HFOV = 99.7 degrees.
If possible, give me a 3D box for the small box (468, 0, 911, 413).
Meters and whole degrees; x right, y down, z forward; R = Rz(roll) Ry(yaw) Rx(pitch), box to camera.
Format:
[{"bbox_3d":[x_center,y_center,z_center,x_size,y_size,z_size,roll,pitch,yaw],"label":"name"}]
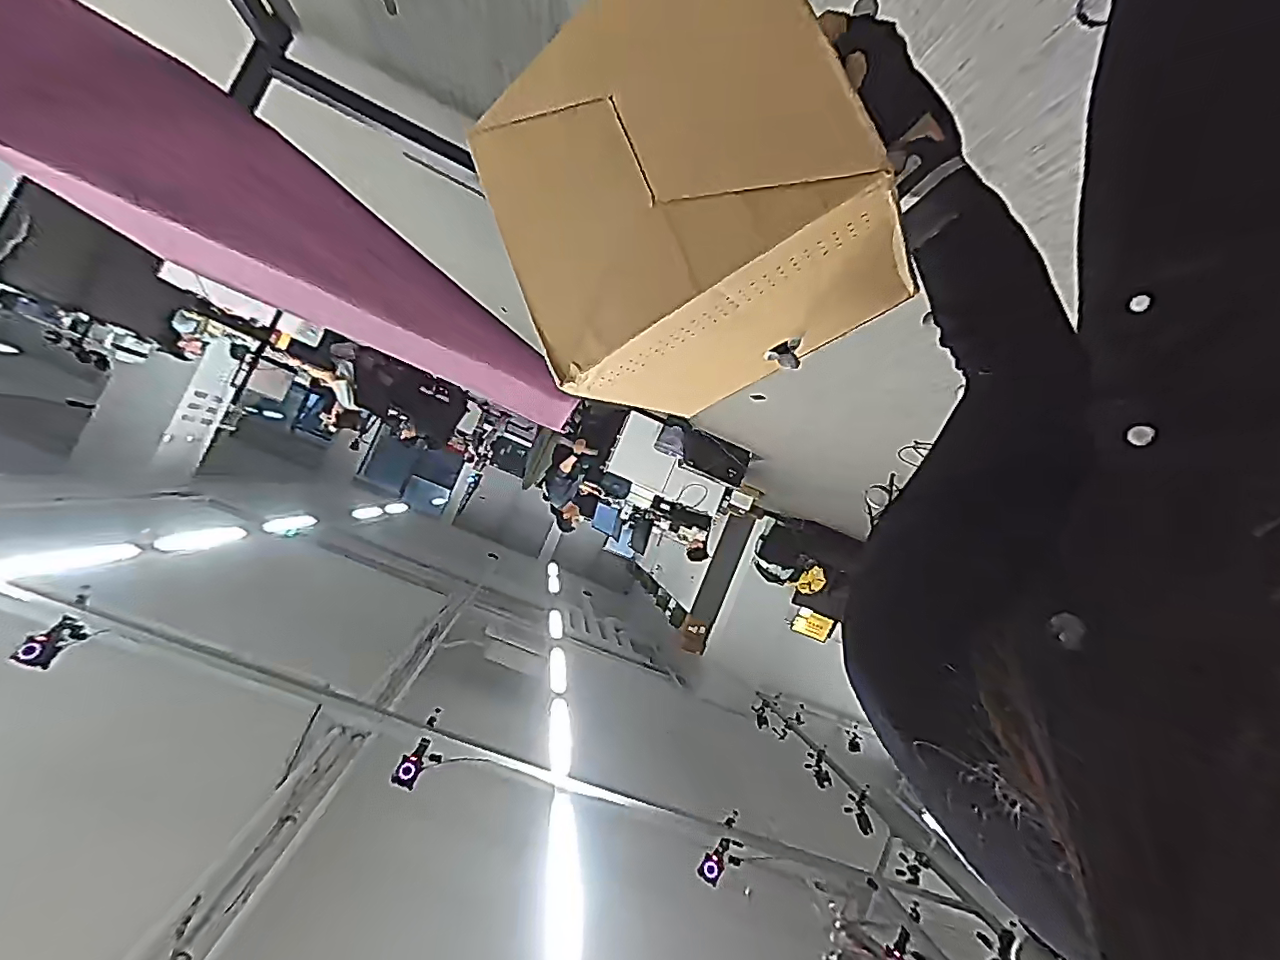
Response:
[{"bbox_3d":[0.032,-0.155,0.324,0.179,0.168,0.176,-26,167,29],"label":"small box"}]
